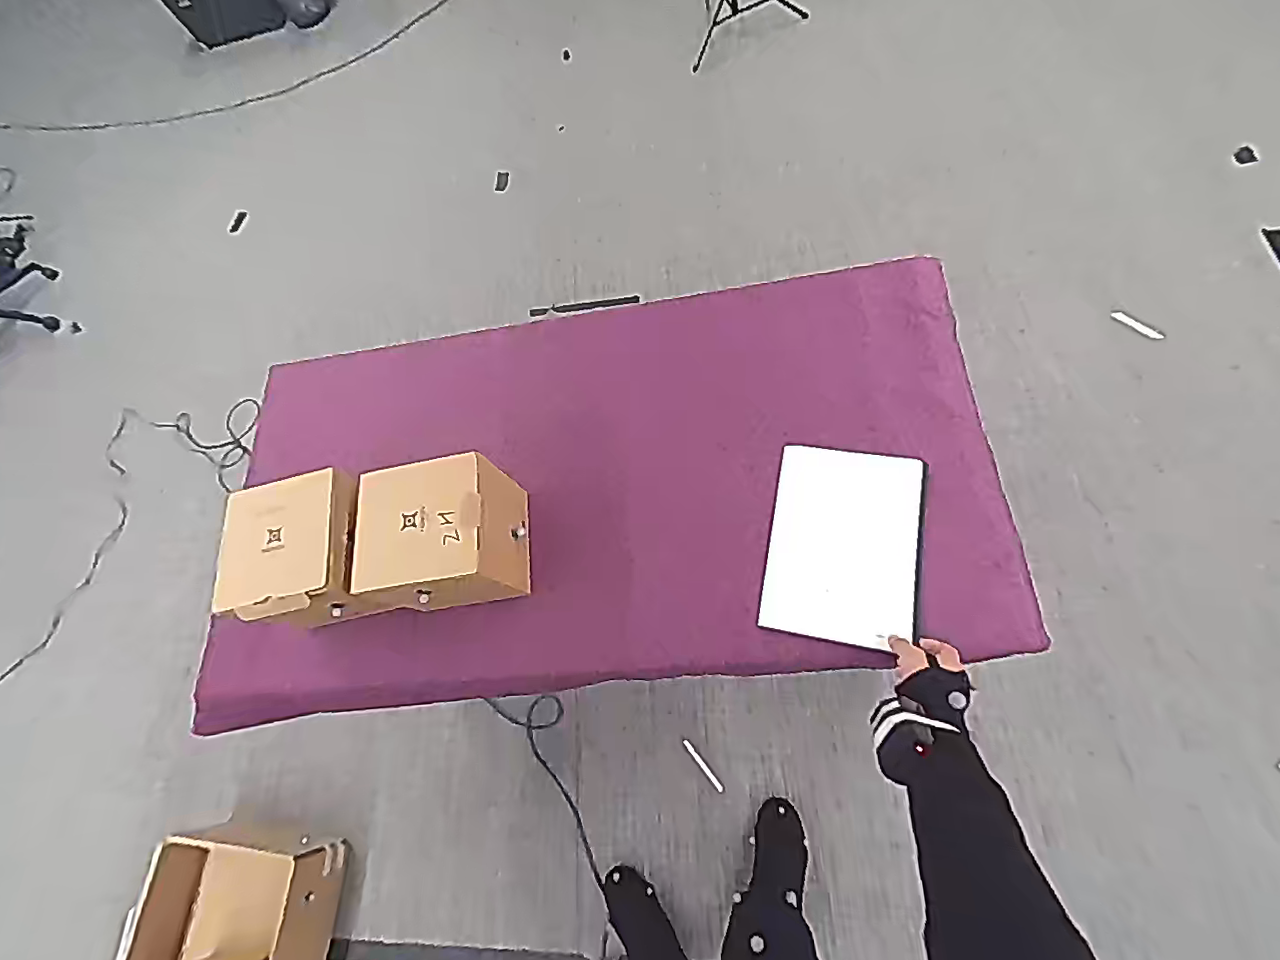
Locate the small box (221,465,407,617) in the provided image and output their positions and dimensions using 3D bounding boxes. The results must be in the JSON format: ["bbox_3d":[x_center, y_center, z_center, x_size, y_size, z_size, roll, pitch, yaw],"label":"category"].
[{"bbox_3d":[-0.468,0.102,0.803,0.168,0.176,0.179,-13,67,6],"label":"small box"}]
